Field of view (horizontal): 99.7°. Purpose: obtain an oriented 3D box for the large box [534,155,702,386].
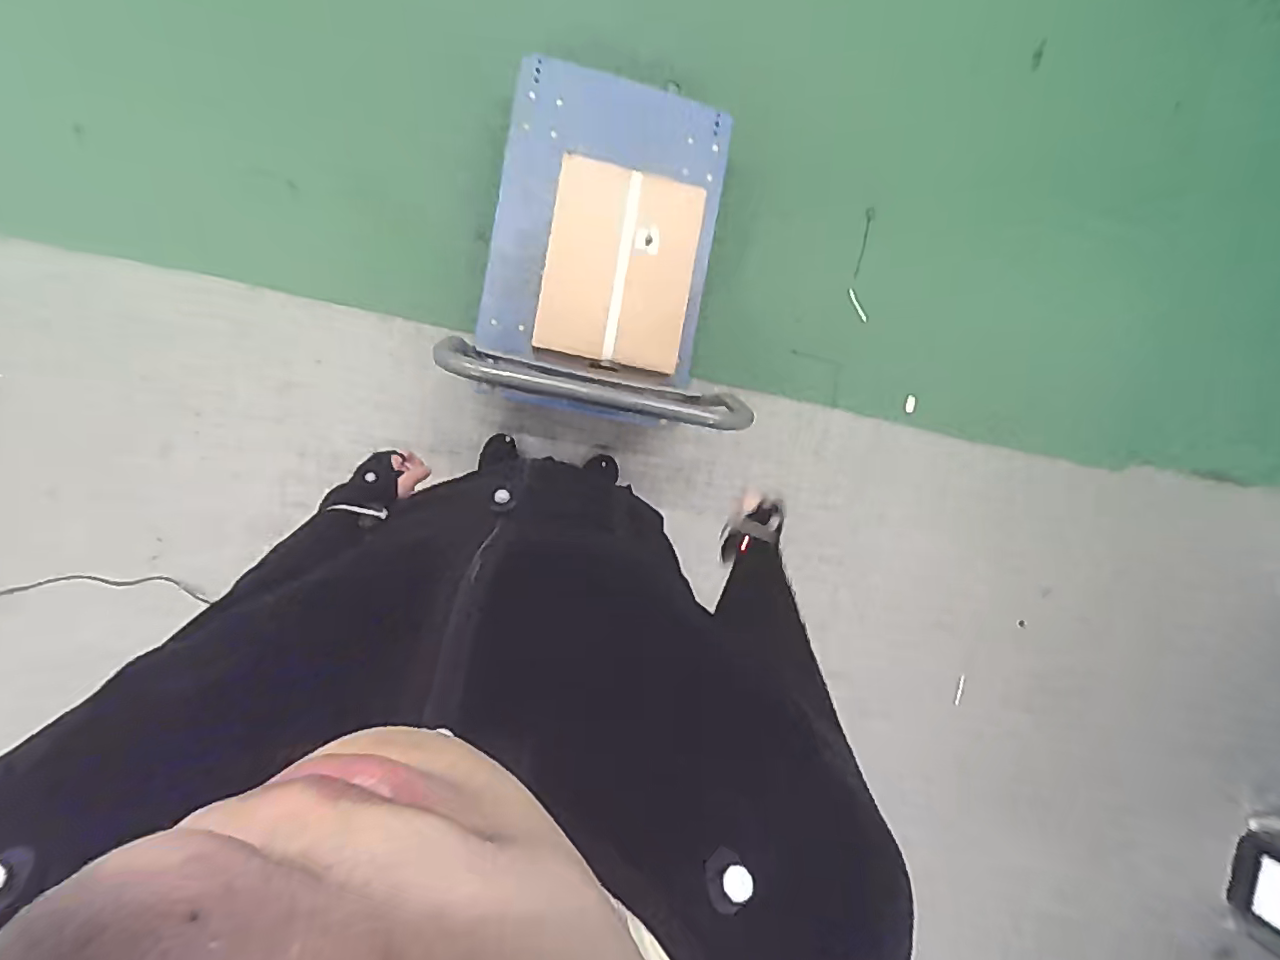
[{"bbox_3d":[-0.067,-0.462,1.292,0.320,0.320,0.408,9,91,-11],"label":"large box"}]
